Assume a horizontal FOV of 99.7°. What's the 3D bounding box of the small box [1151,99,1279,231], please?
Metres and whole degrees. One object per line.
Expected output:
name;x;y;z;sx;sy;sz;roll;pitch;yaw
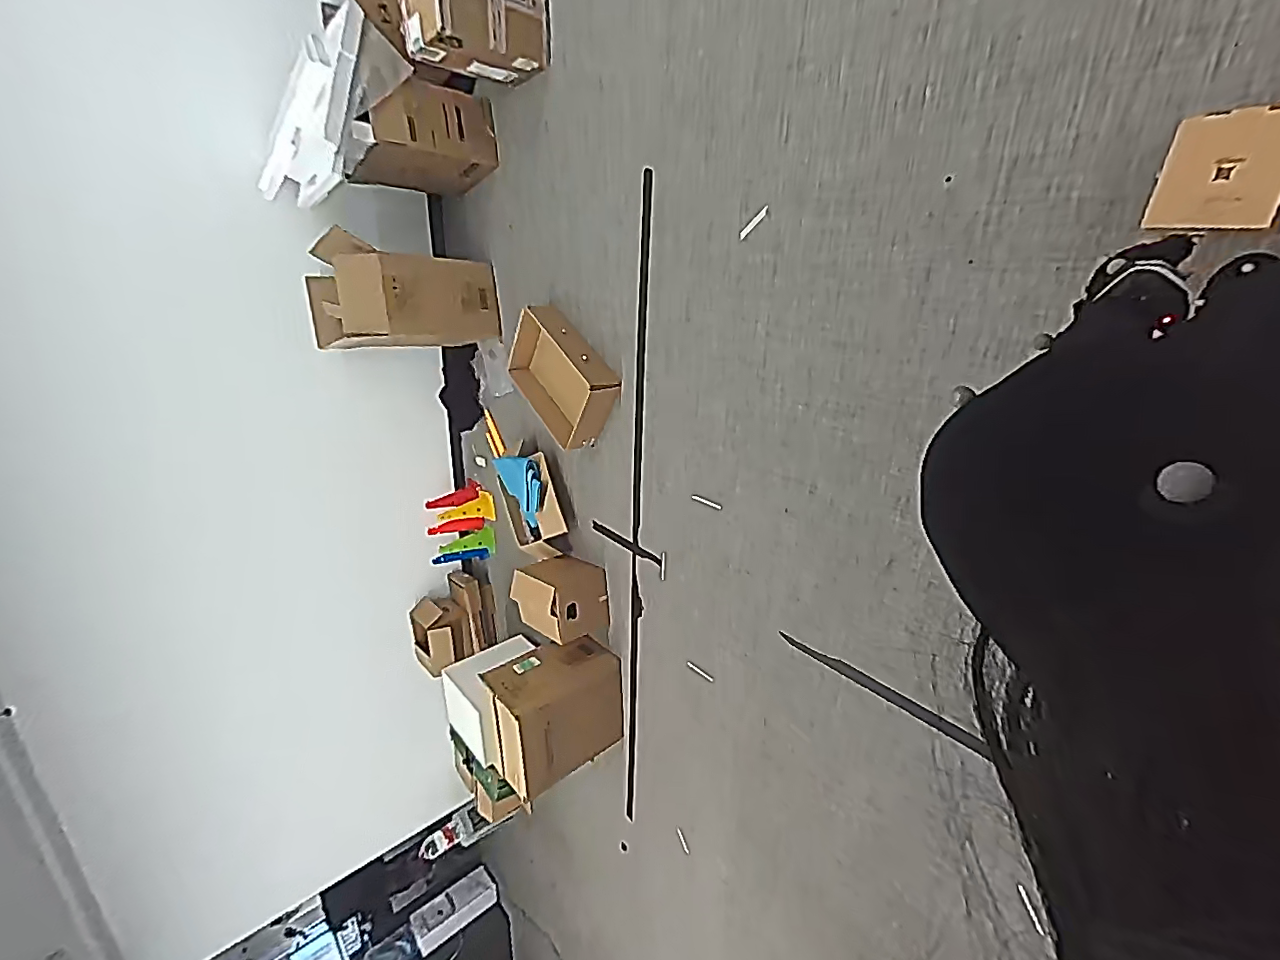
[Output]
small box;1.031;-0.532;0.928;0.168;0.176;0.179;27;123;45
